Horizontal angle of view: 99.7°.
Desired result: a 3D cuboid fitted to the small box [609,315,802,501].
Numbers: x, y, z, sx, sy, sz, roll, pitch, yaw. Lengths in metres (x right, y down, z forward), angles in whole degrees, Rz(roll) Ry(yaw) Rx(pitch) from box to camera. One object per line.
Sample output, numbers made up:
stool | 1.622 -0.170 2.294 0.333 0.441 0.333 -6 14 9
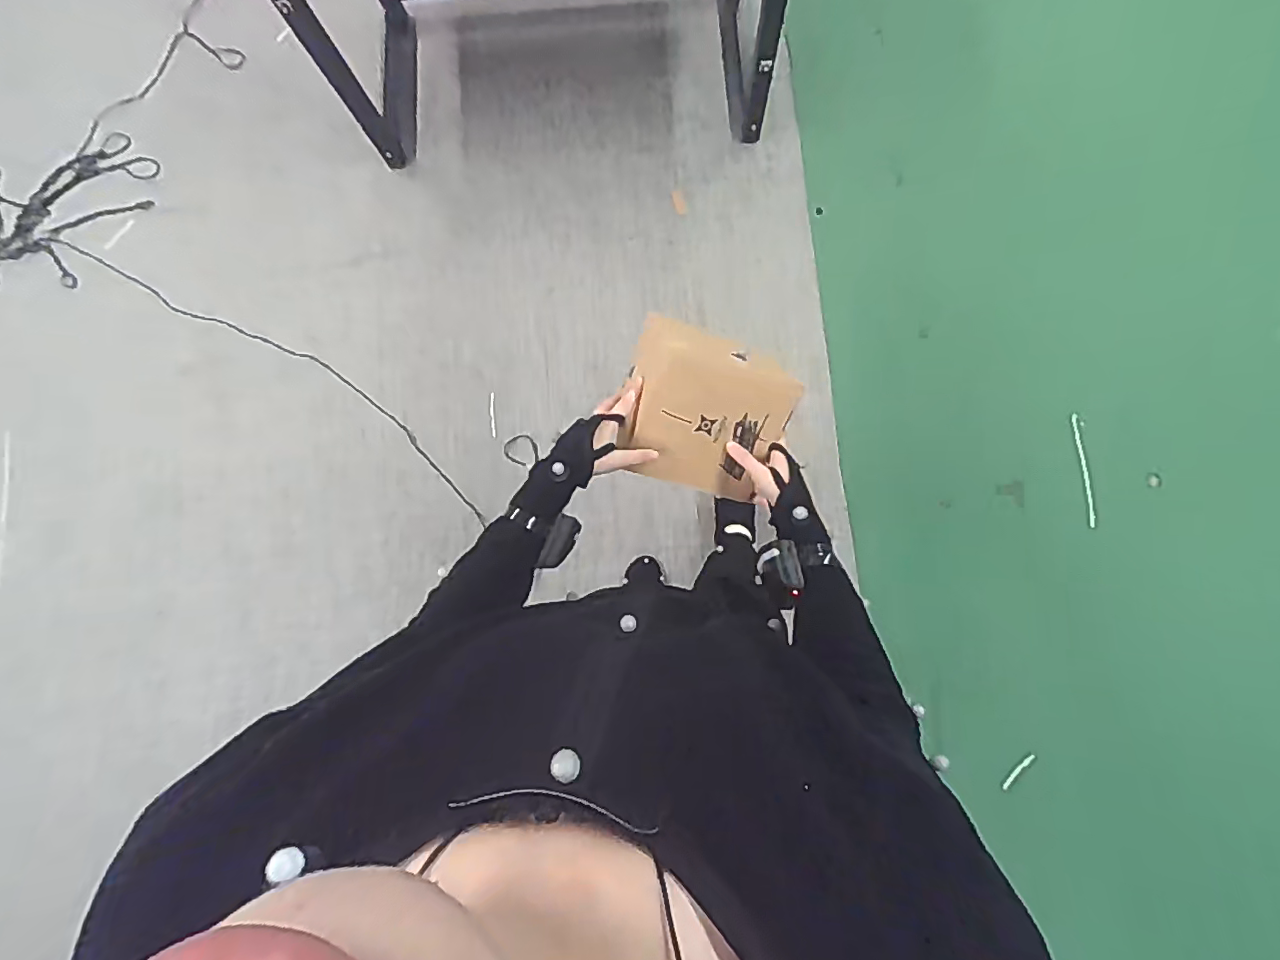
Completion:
small box | 0.071 -0.100 0.704 0.179 0.176 0.168 16 114 -16
